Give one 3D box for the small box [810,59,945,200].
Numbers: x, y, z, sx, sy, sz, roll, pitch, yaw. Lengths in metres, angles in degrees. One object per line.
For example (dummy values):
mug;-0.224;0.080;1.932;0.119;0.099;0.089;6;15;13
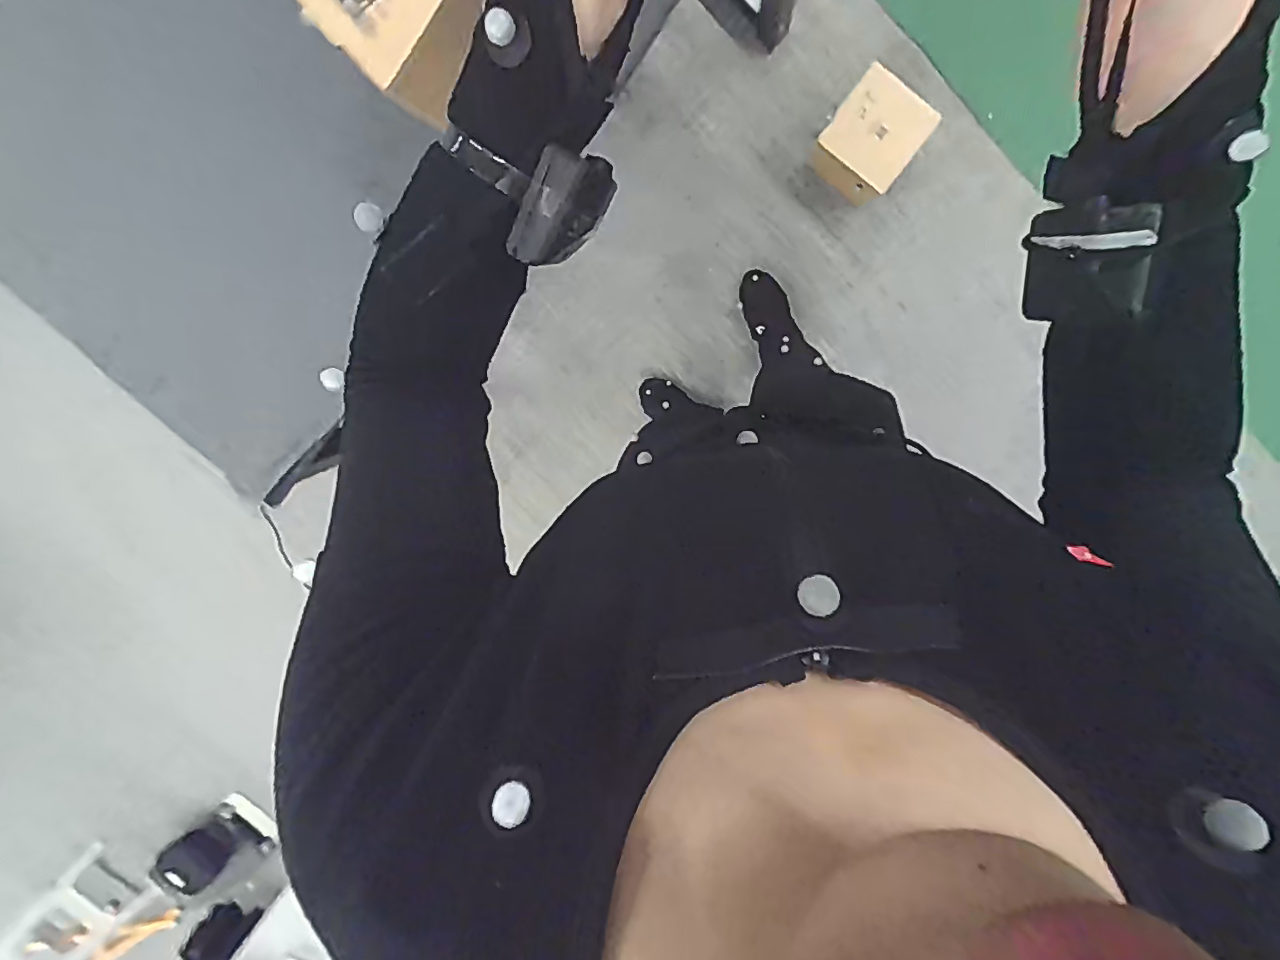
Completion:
small box;0.483;-0.715;1.130;0.179;0.176;0.168;36;109;-4
